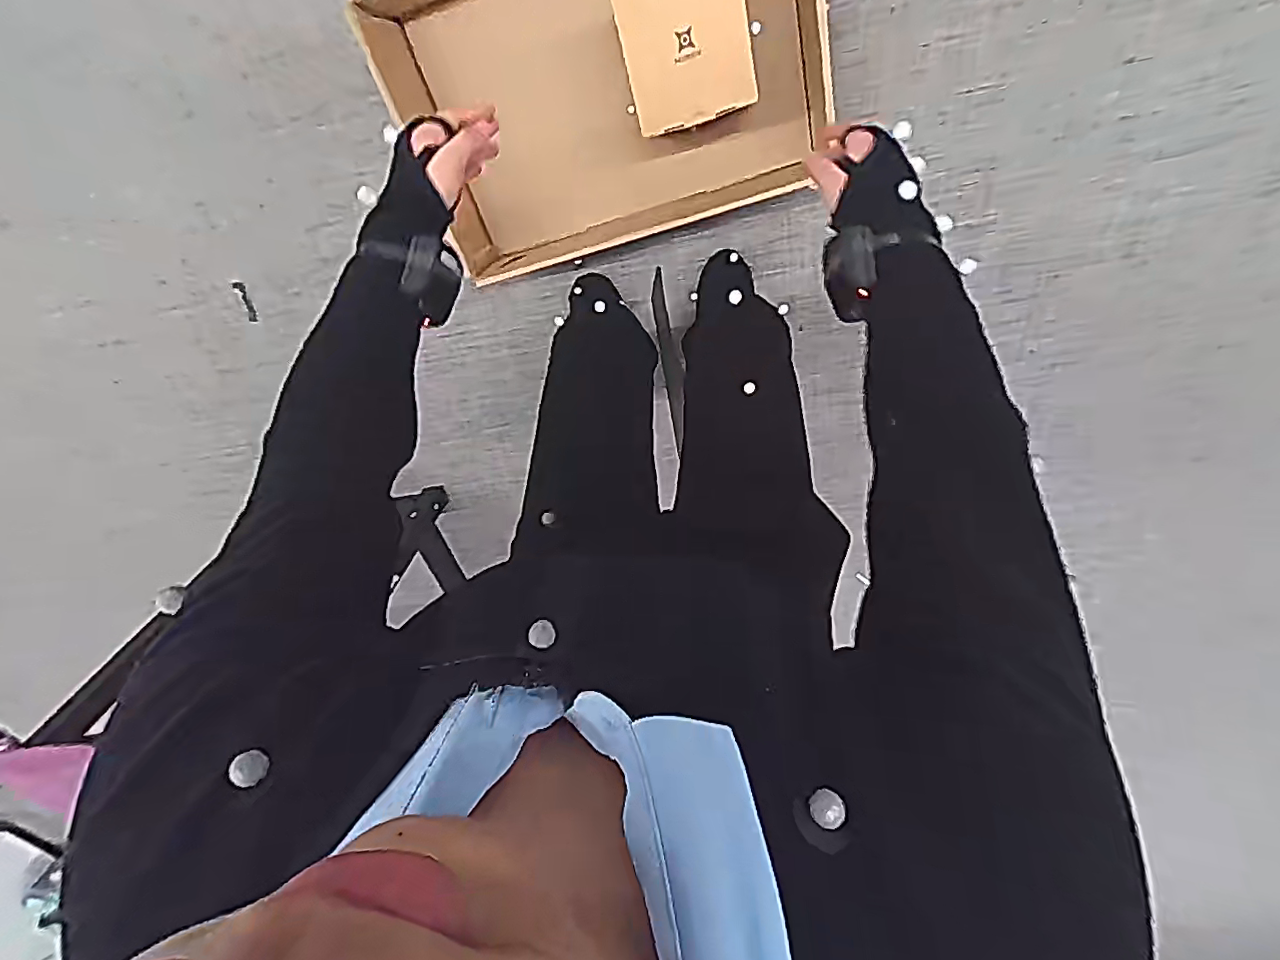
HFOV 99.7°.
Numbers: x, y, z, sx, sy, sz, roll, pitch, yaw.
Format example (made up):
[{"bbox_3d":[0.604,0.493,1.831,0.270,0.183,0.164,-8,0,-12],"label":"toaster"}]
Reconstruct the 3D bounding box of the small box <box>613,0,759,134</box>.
[{"bbox_3d":[0.067,-0.614,0.764,0.168,0.176,0.179,-11,124,14],"label":"small box"}]
